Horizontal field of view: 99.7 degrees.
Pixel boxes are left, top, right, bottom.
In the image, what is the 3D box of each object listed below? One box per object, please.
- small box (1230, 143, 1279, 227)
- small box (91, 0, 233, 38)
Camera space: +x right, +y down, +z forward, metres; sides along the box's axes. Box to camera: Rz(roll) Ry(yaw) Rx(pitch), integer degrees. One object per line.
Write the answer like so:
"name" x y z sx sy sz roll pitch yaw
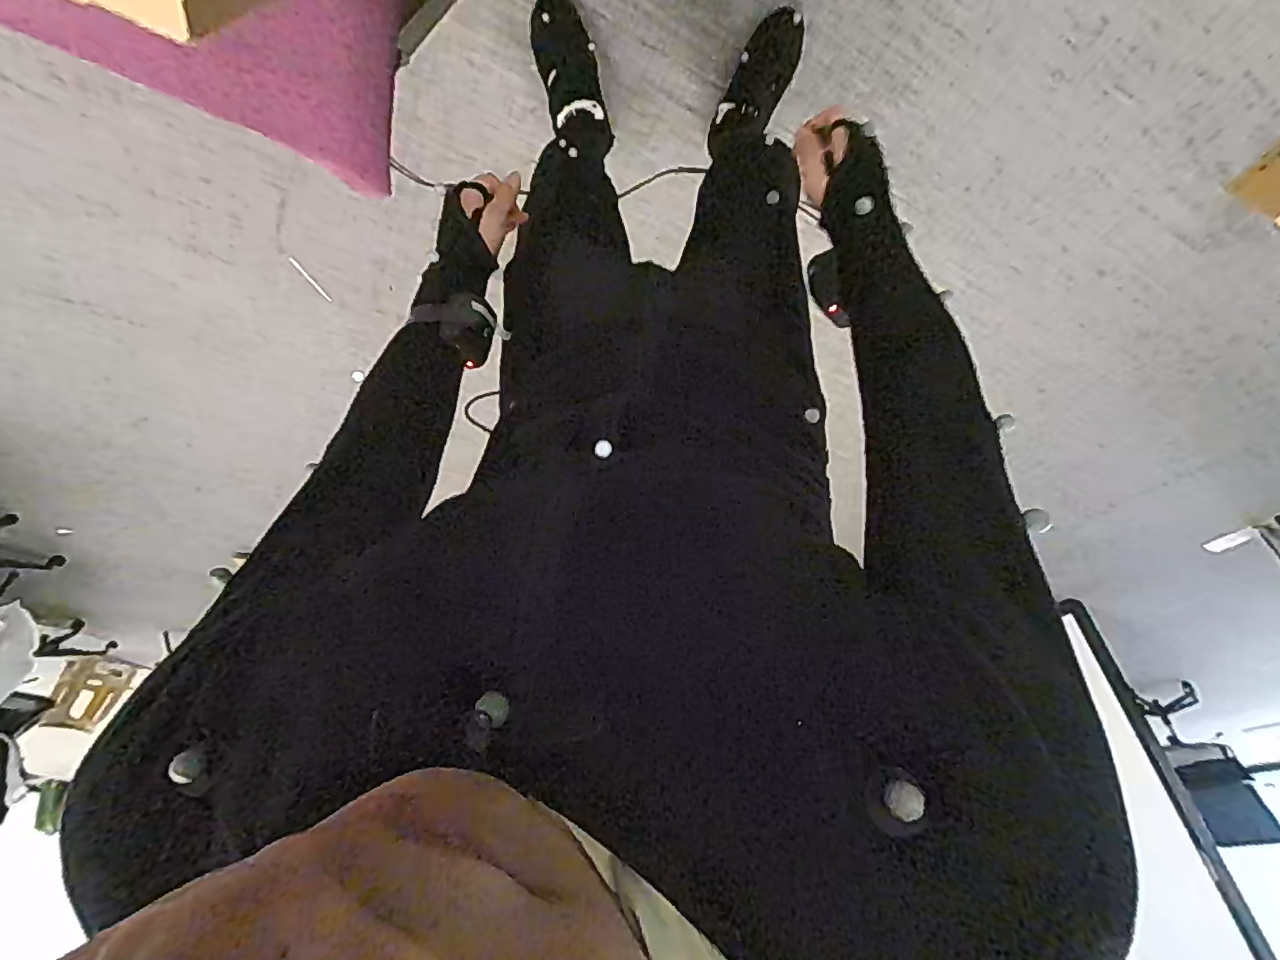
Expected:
"small box" 1.518 -0.666 1.216 0.179 0.176 0.168 16 138 -20
"small box" -0.343 -0.428 0.326 0.168 0.176 0.179 16 139 -18
